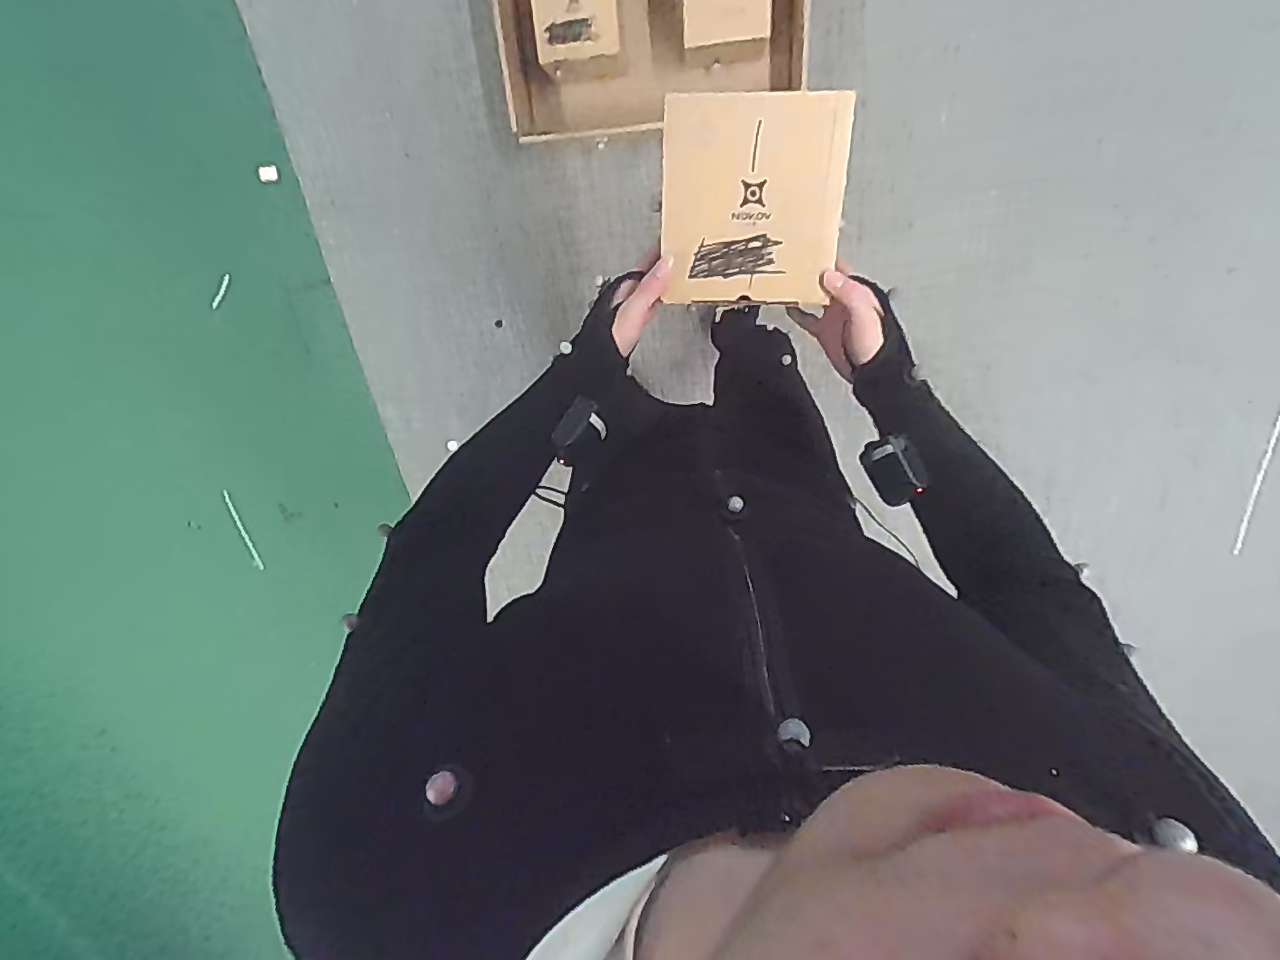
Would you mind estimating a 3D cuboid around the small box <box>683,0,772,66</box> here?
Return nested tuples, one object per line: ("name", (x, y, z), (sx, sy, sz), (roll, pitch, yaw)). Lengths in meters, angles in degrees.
("small box", (0.169, -0.955, 1.069), (0.168, 0.176, 0.179), (-1, 115, 7))

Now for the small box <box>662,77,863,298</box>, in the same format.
("small box", (0.110, -0.283, 0.558), (0.168, 0.176, 0.179), (2, 109, 3))

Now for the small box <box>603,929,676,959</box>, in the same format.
("small box", (0.002, 1.283, 1.371), (0.168, 0.176, 0.179), (-10, 113, 9))
